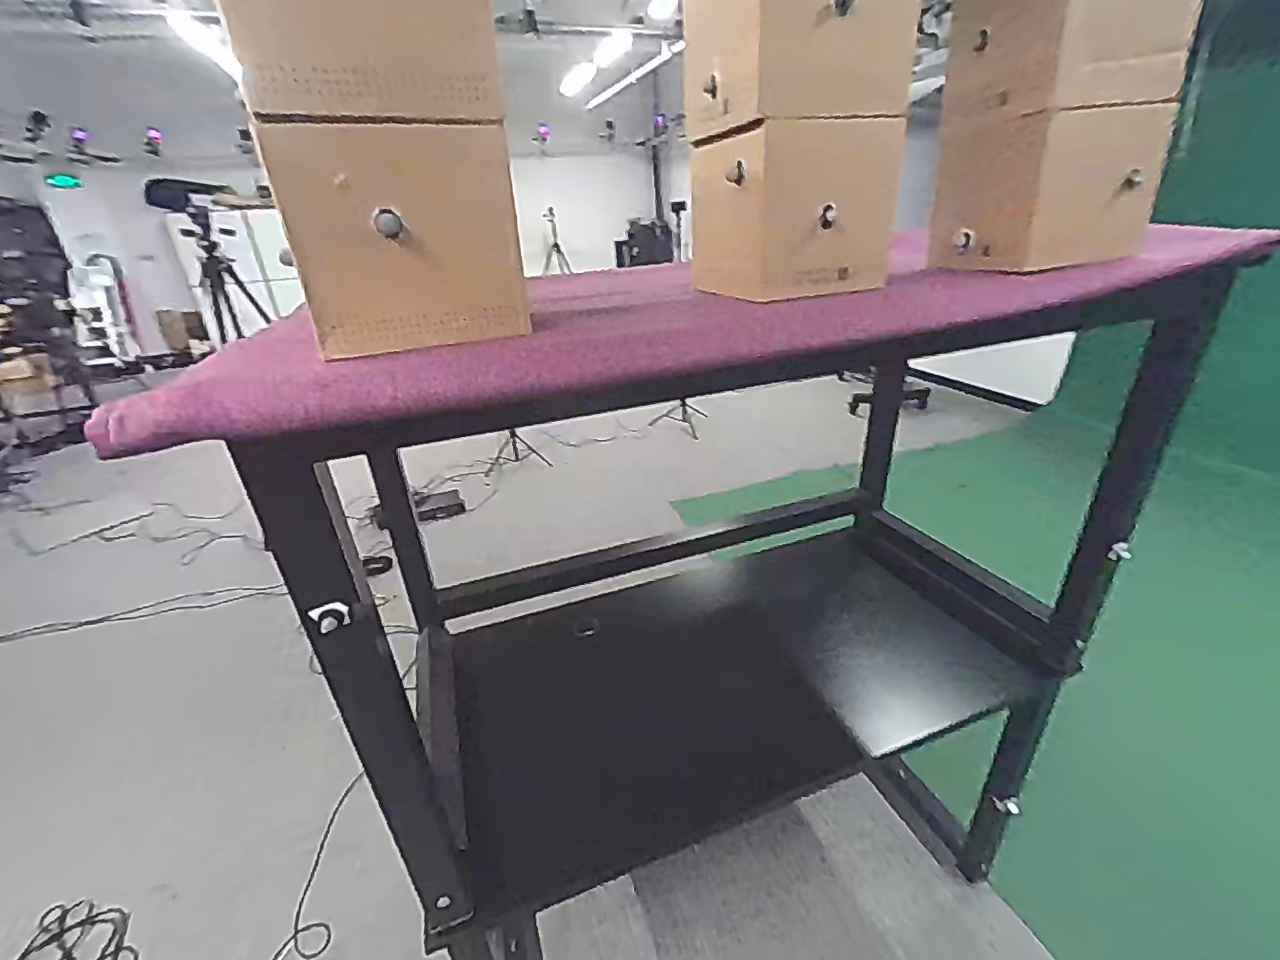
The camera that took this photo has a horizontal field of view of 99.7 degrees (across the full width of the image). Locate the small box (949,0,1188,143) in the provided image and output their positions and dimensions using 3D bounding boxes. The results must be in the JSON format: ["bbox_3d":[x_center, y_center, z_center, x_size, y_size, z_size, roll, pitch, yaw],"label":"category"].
[{"bbox_3d":[0.498,-0.507,0.643,0.179,0.176,0.168,-9,24,-9],"label":"small box"}]

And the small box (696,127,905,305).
[{"bbox_3d":[0.176,-0.305,0.641,0.168,0.176,0.179,-11,26,-16],"label":"small box"}]

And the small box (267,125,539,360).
[{"bbox_3d":[-0.207,-0.216,0.503,0.179,0.176,0.168,-14,29,-21],"label":"small box"}]

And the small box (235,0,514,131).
[{"bbox_3d":[-0.214,-0.364,0.429,0.179,0.176,0.168,-14,29,-23],"label":"small box"}]

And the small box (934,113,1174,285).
[{"bbox_3d":[0.517,-0.357,0.704,0.179,0.176,0.168,-12,24,-11],"label":"small box"}]
